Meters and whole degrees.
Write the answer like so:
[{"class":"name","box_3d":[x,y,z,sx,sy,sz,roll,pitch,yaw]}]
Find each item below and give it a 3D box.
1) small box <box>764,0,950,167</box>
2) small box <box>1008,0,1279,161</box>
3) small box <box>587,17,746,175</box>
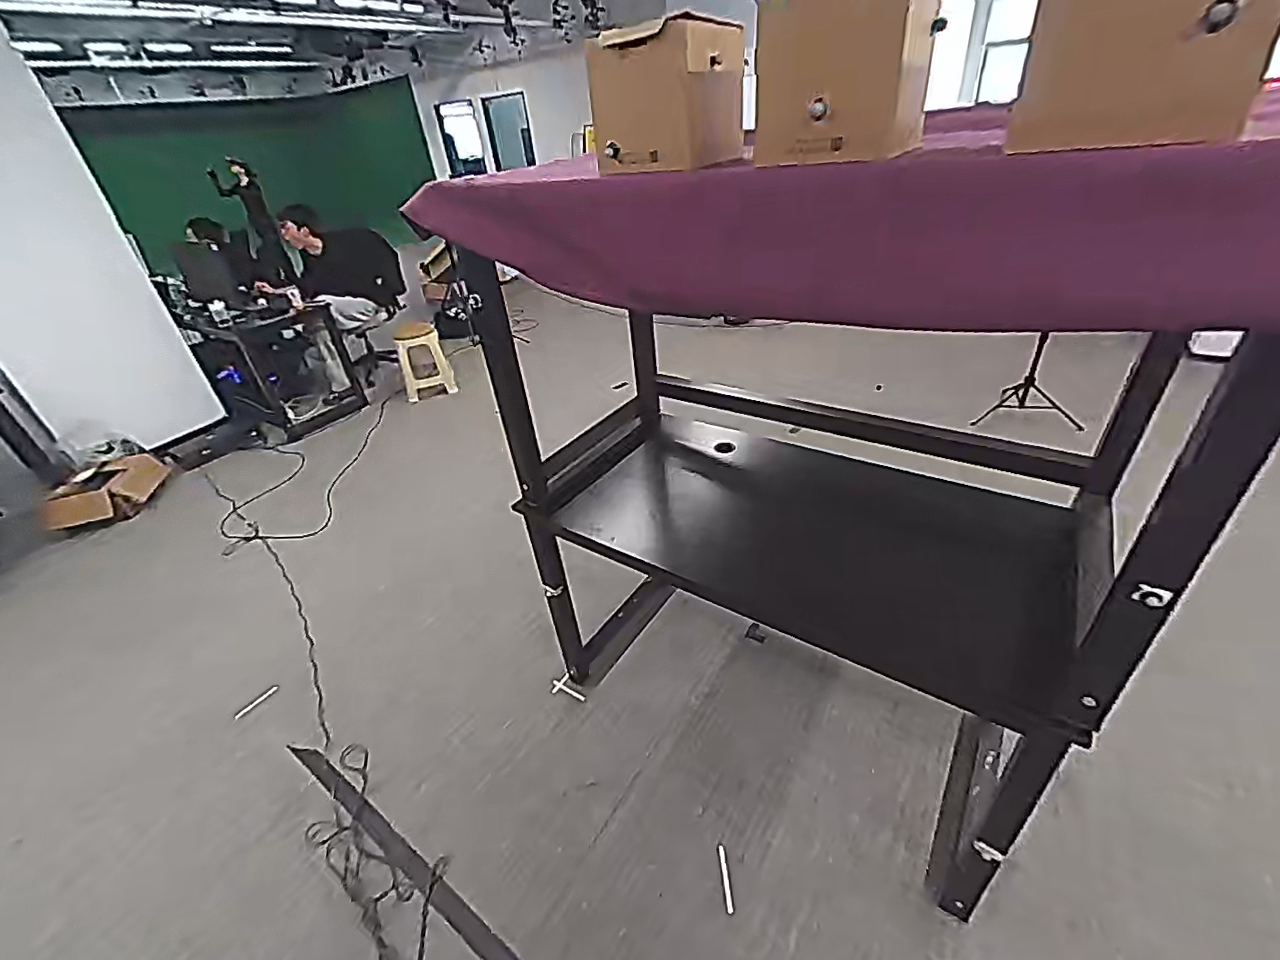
[{"class":"small box","box_3d":[0.257,-0.486,0.660,0.168,0.176,0.179,16,39,31]},{"class":"small box","box_3d":[0.477,-0.406,0.503,0.179,0.176,0.168,18,39,34]},{"class":"small box","box_3d":[0.048,-0.554,0.799,0.168,0.176,0.179,16,38,30]}]
